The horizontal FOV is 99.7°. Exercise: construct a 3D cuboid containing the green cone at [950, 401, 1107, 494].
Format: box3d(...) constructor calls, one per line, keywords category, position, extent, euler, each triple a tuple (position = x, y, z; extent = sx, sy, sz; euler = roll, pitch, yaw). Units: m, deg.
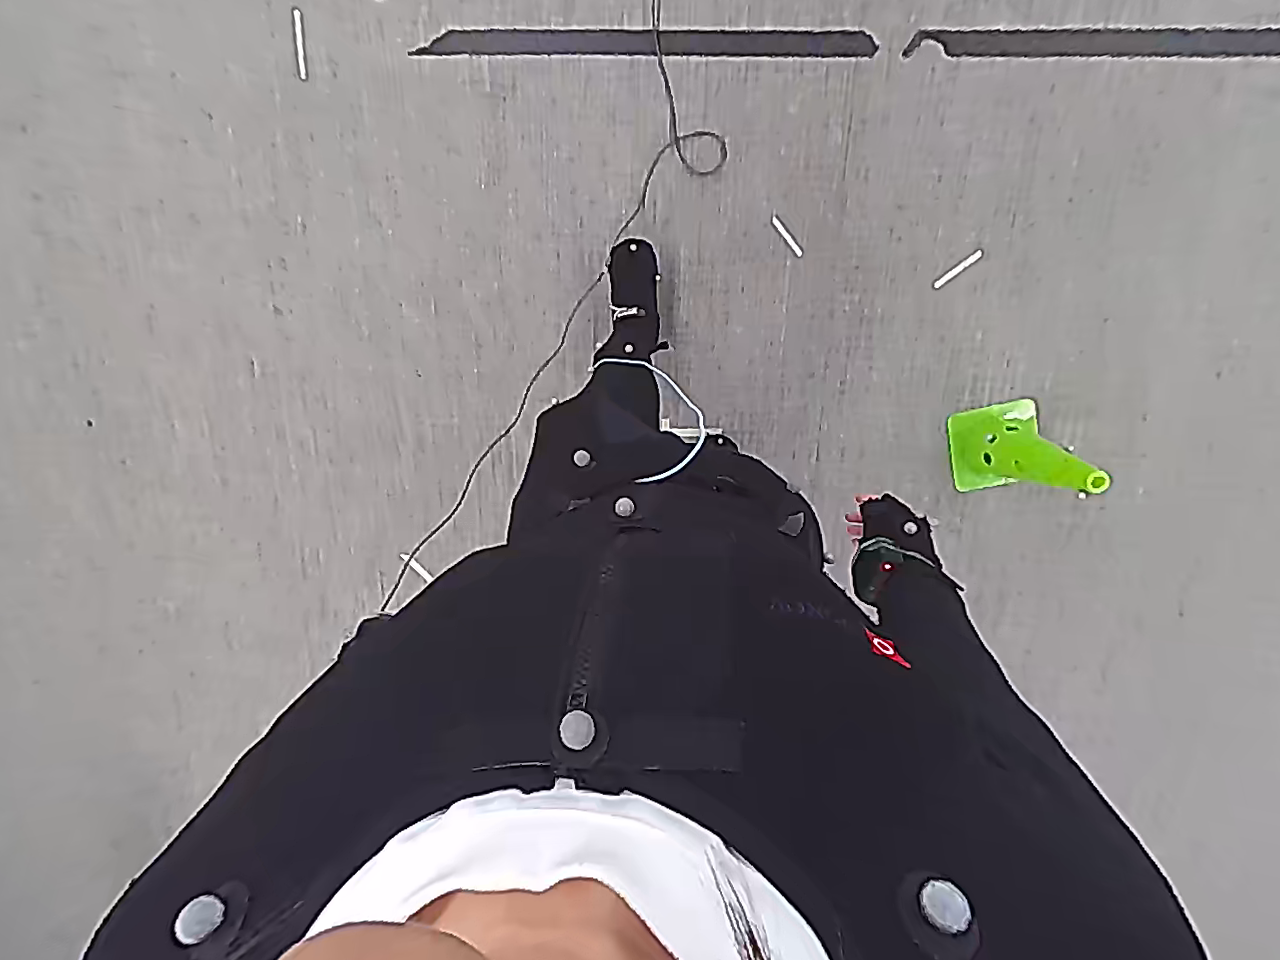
box3d(category="green cone", position=(0.848, -0.040, 1.147), extent=(0.202, 0.368, 0.200), euler=(-12, 102, 10))
